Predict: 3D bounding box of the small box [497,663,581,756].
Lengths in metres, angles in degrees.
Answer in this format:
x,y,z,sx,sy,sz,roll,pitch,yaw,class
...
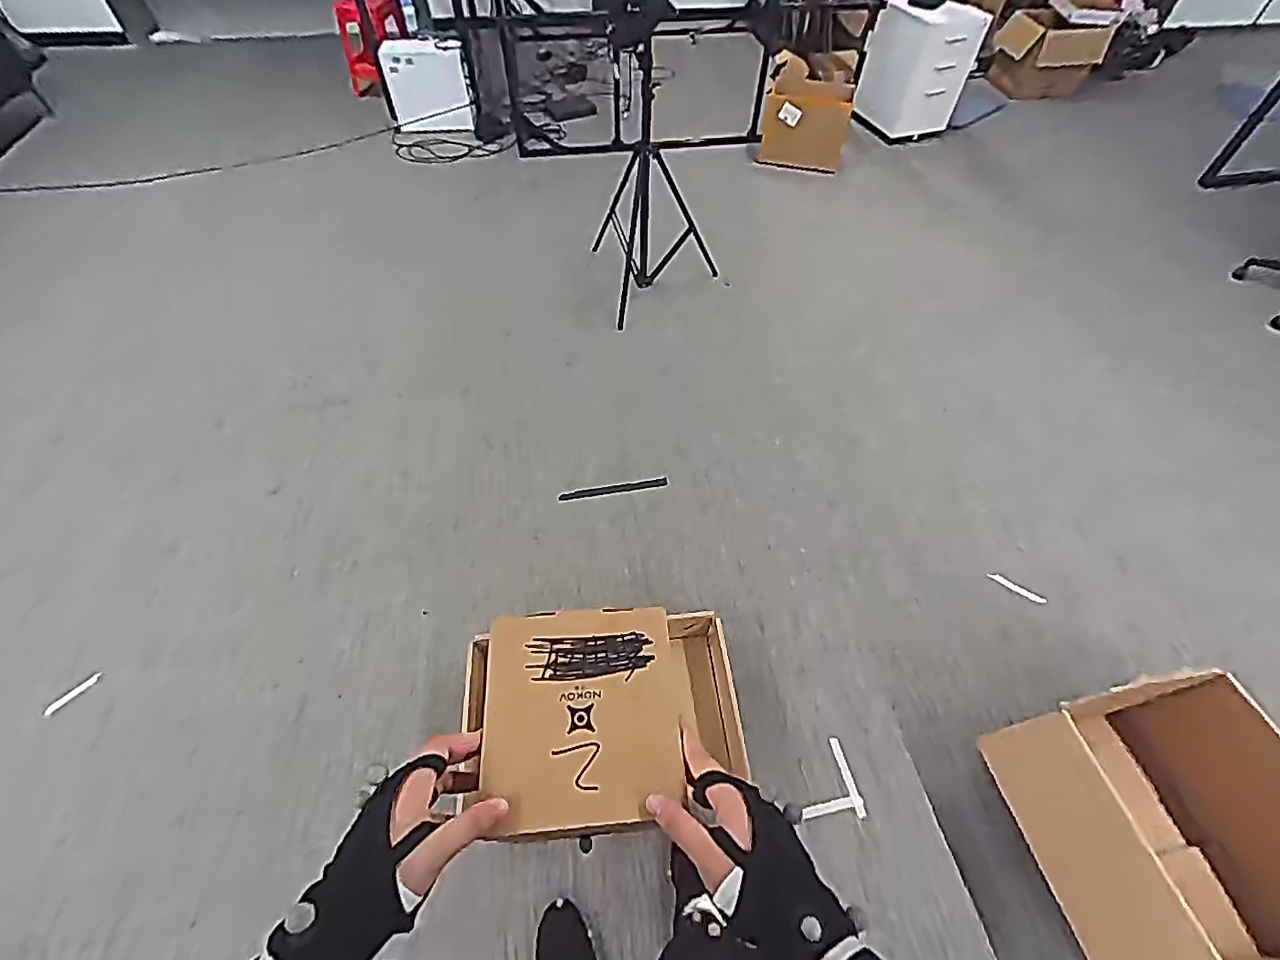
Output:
x,y,z,sx,sy,sz,roll,pitch,yaw,class
-0.233,0.546,1.280,0.179,0.176,0.168,-4,56,-6,small box
